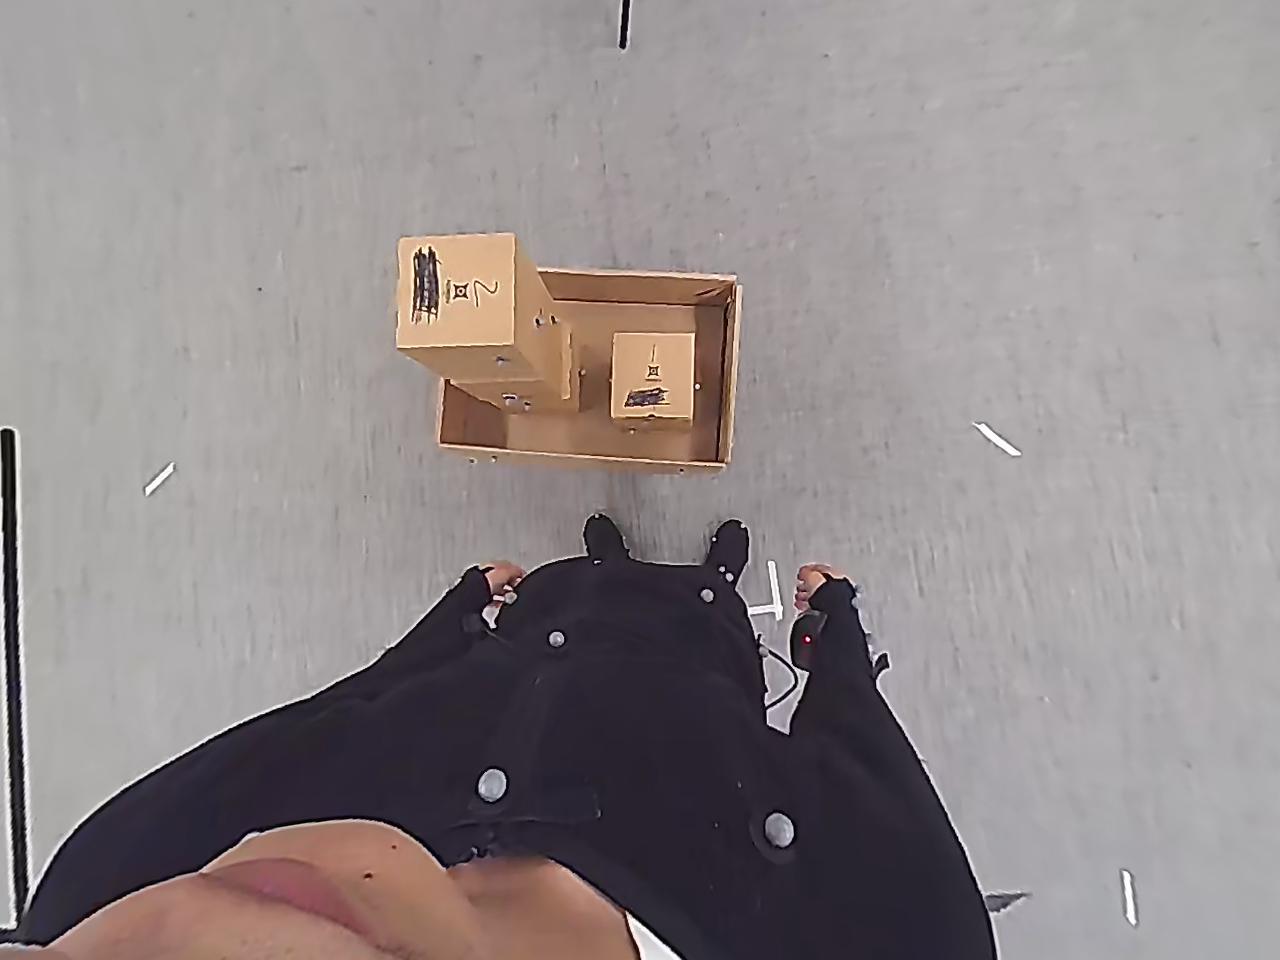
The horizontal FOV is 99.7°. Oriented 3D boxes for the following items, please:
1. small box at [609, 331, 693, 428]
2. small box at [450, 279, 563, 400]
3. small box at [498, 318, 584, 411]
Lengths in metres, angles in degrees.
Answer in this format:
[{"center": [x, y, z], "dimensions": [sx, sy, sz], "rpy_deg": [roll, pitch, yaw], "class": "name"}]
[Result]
[{"center": [0.029, -0.207, 1.157], "dimensions": [0.168, 0.176, 0.179], "rpy_deg": [1, 86, 3], "class": "small box"}, {"center": [-0.243, -0.254, 1.011], "dimensions": [0.168, 0.176, 0.179], "rpy_deg": [-2, 86, 4], "class": "small box"}, {"center": [-0.224, -0.244, 1.174], "dimensions": [0.179, 0.176, 0.168], "rpy_deg": [1, 87, 3], "class": "small box"}]
